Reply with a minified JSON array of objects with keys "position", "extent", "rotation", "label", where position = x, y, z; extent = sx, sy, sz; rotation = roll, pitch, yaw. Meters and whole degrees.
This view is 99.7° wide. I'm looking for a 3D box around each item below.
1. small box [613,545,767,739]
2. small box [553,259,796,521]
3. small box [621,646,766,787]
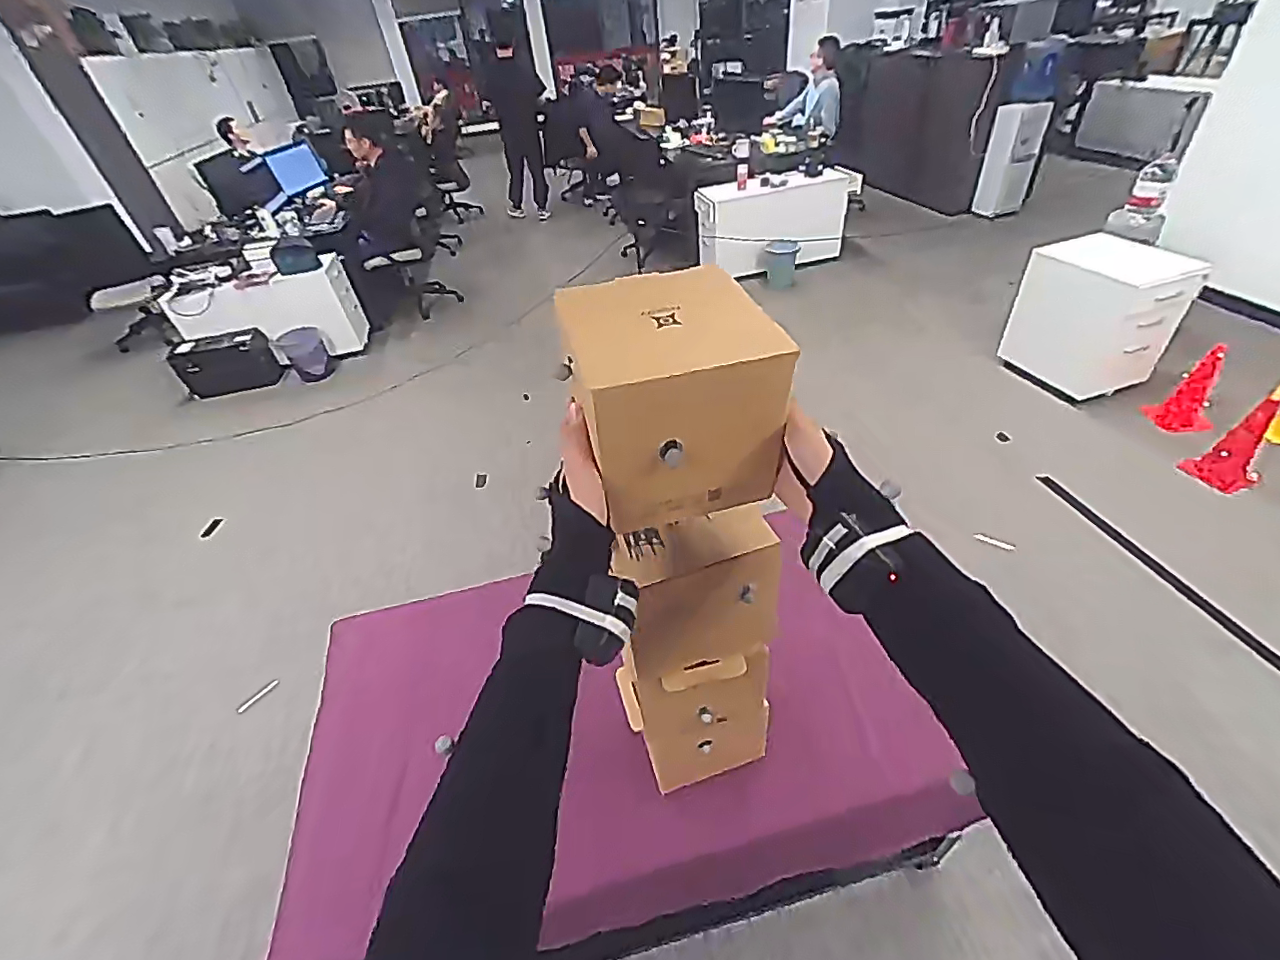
[{"position":[0.064,0.222,0.748],"extent":[0.168,0.176,0.179],"rotation":[-13,41,-4],"label":"small box"},{"position":[0.024,-0.080,0.506],"extent":[0.168,0.176,0.179],"rotation":[-13,44,-9],"label":"small box"},{"position":[0.084,0.348,0.851],"extent":[0.179,0.176,0.168],"rotation":[-16,41,-9],"label":"small box"}]
